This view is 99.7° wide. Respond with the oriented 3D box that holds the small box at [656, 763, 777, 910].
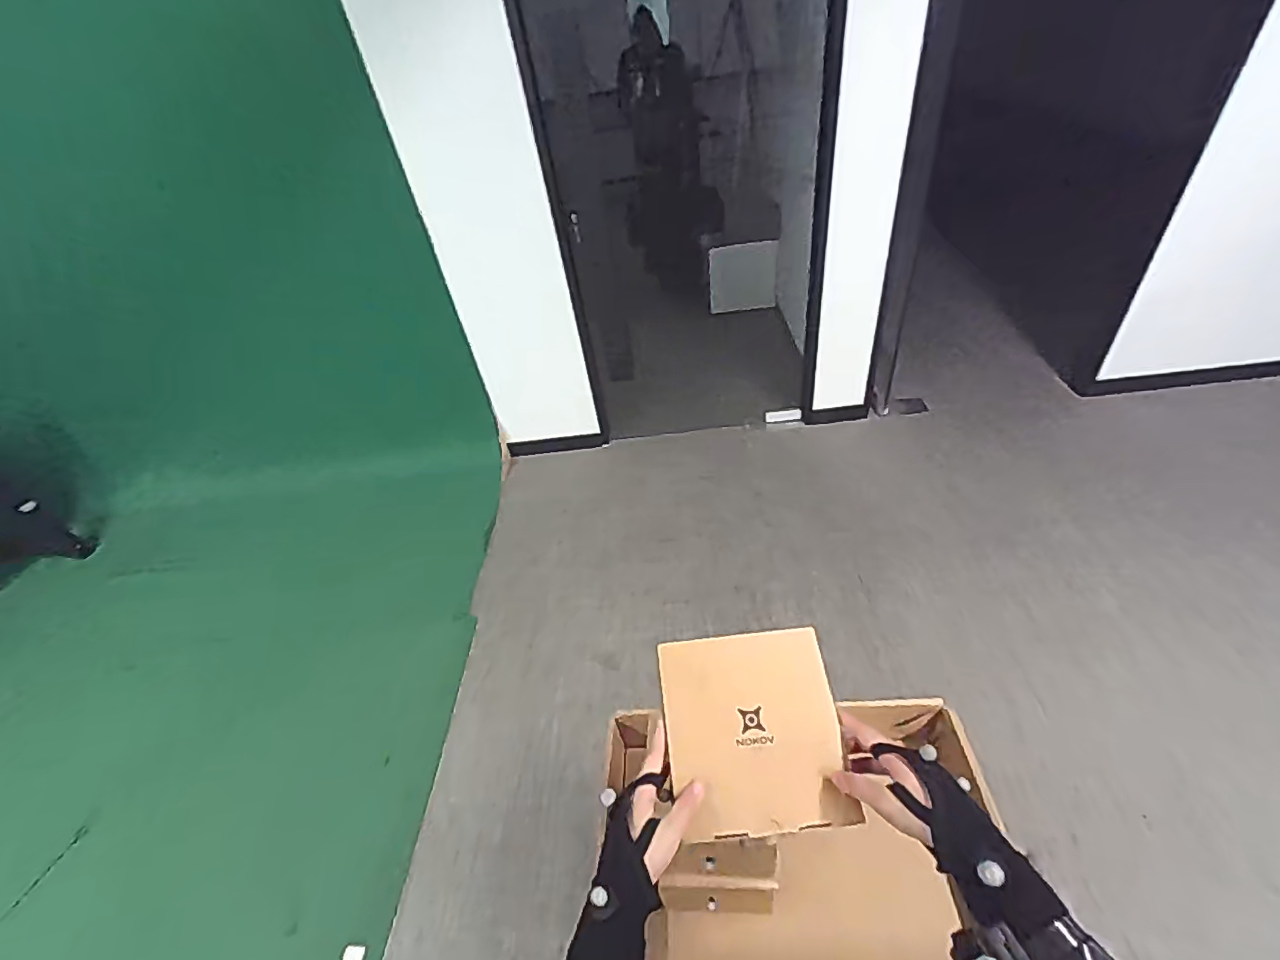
[{"bbox_3d":[0.124,0.585,0.889,0.179,0.176,0.168,-4,41,8],"label":"small box"}]
